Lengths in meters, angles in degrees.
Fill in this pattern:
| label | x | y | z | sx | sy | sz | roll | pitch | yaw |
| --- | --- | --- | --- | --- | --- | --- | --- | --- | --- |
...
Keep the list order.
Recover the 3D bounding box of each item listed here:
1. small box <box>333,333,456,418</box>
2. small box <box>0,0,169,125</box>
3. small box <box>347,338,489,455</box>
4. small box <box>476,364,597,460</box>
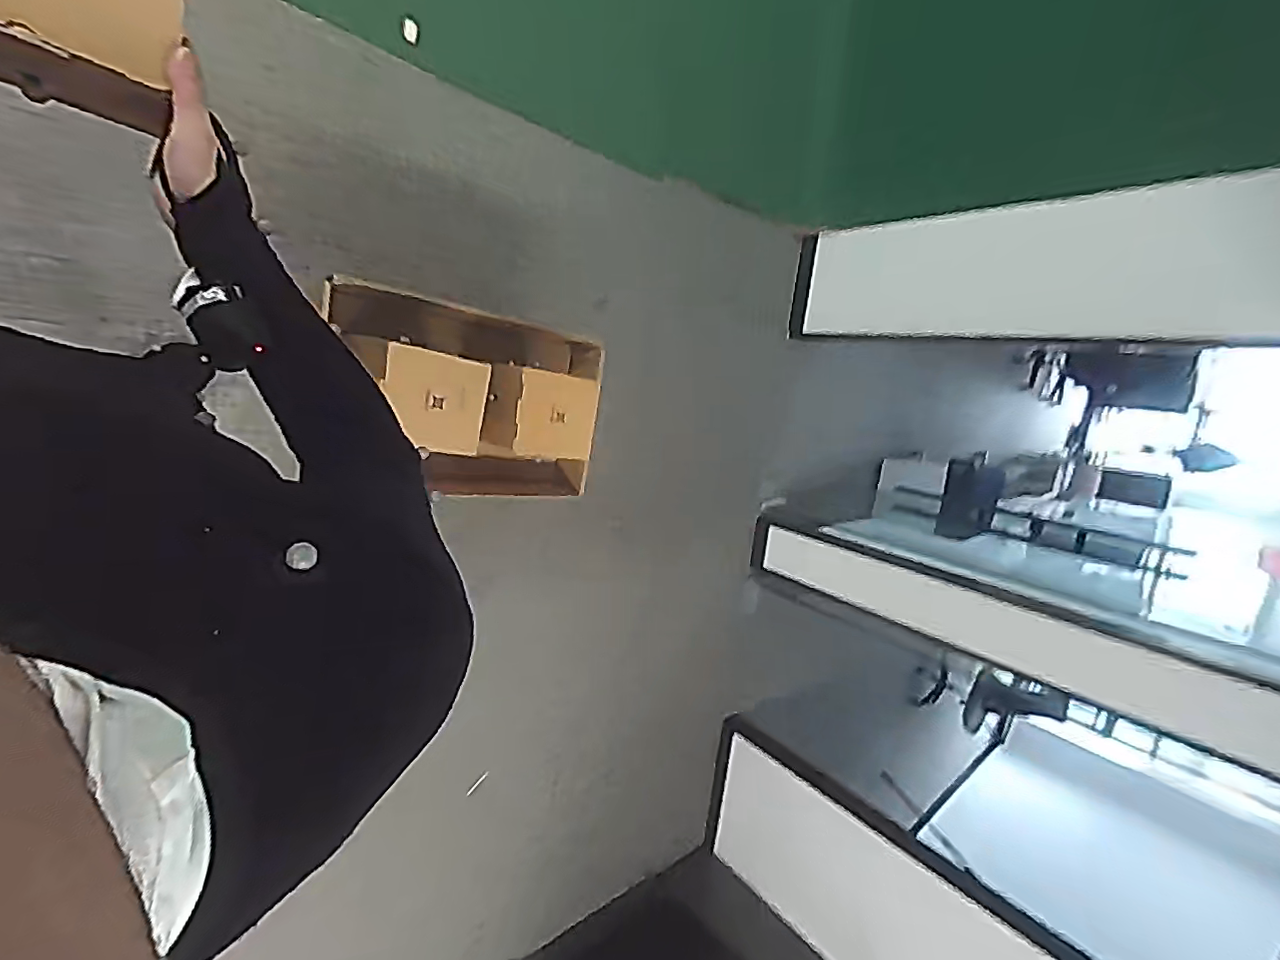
| label | x | y | z | sx | sy | sz | roll | pitch | yaw |
| --- | --- | --- | --- | --- | --- | --- | --- | --- | --- |
| small box | -0.496 | -0.192 | 1.081 | 0.179 | 0.176 | 0.168 | 4 | 100 | -43 |
| small box | -0.465 | -0.409 | 0.404 | 0.168 | 0.176 | 0.179 | 3 | 102 | -45 |
| small box | -0.398 | -0.148 | 0.958 | 0.179 | 0.176 | 0.168 | 7 | 99 | -43 |
| small box | -0.218 | -0.144 | 1.124 | 0.179 | 0.176 | 0.168 | 4 | 100 | -40 |
